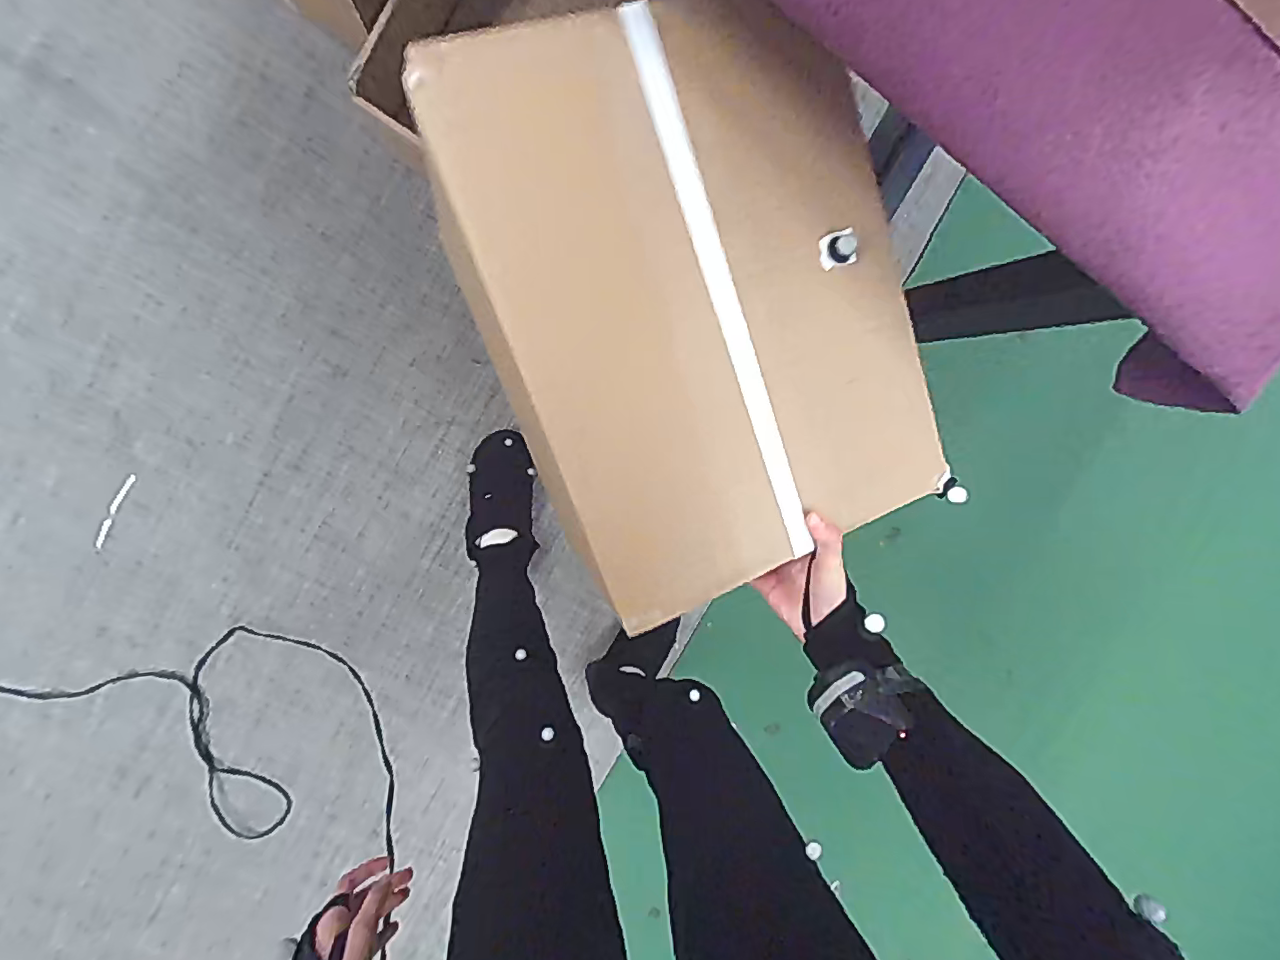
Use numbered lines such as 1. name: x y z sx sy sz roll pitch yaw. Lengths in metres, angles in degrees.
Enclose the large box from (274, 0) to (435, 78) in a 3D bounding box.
1. large box: -0.392 -0.844 0.662 0.320 0.320 0.408 29 94 -14
